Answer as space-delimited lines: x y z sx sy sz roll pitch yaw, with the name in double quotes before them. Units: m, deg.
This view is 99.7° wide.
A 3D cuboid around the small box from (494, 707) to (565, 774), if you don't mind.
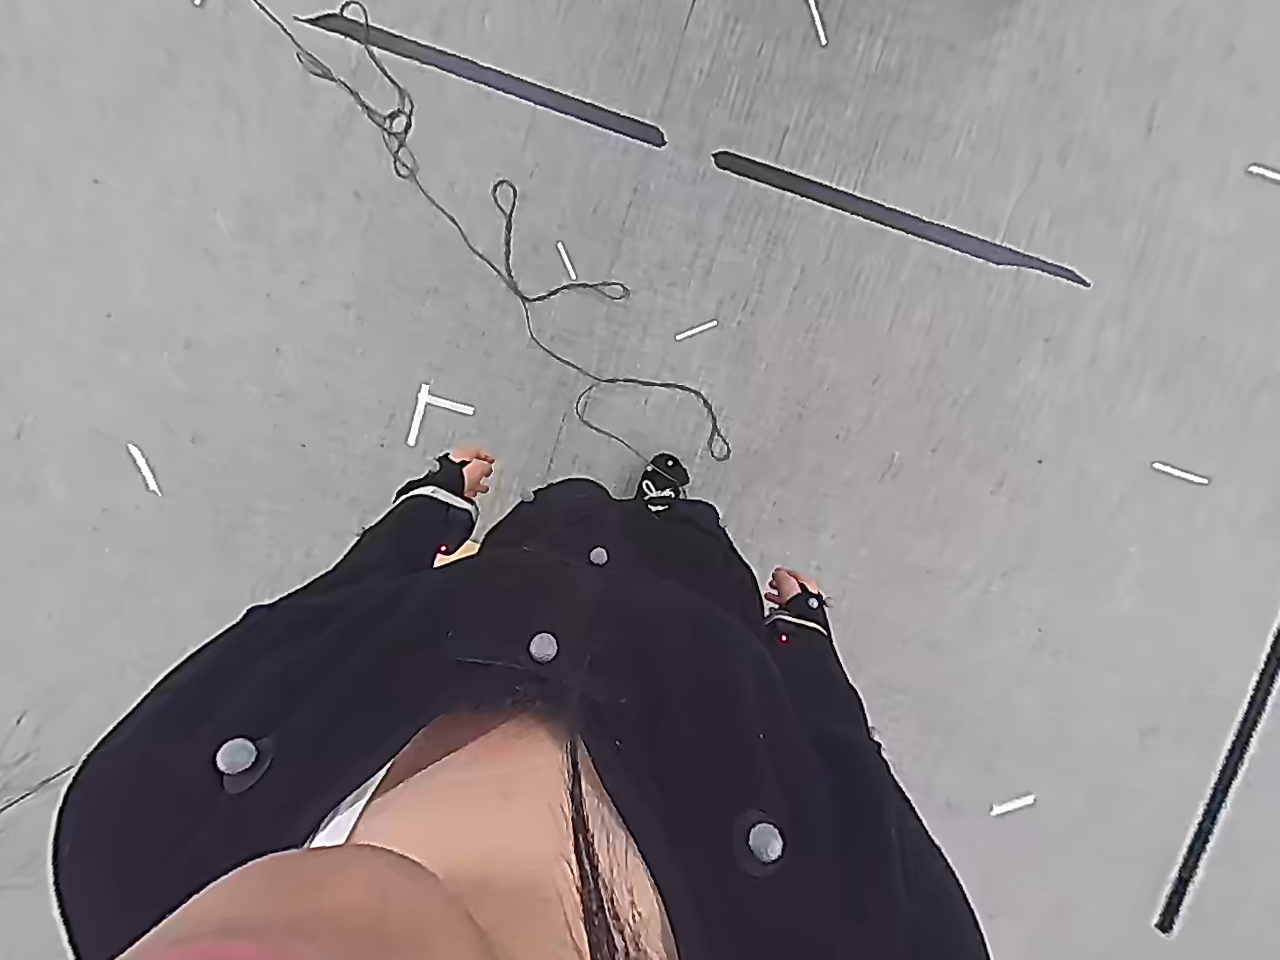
"small box" -0.299 0.730 1.430 0.168 0.176 0.179 12 92 0
